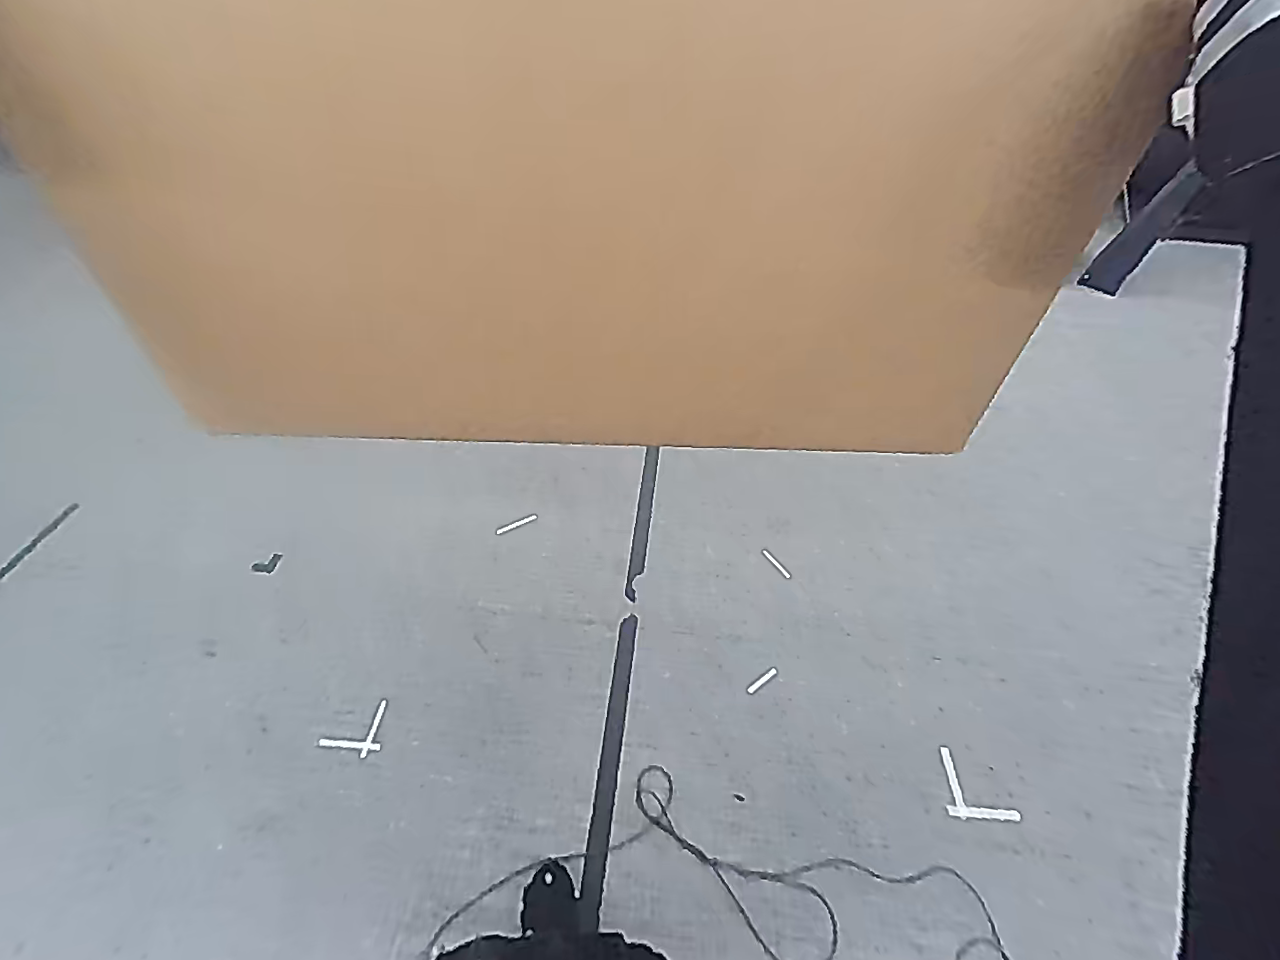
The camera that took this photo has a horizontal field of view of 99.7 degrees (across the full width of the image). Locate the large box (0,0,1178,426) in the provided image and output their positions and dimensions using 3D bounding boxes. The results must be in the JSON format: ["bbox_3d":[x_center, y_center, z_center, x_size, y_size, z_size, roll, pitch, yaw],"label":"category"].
[{"bbox_3d":[-0.020,-0.244,0.301,0.408,0.320,0.320,2,44,-4],"label":"large box"}]
